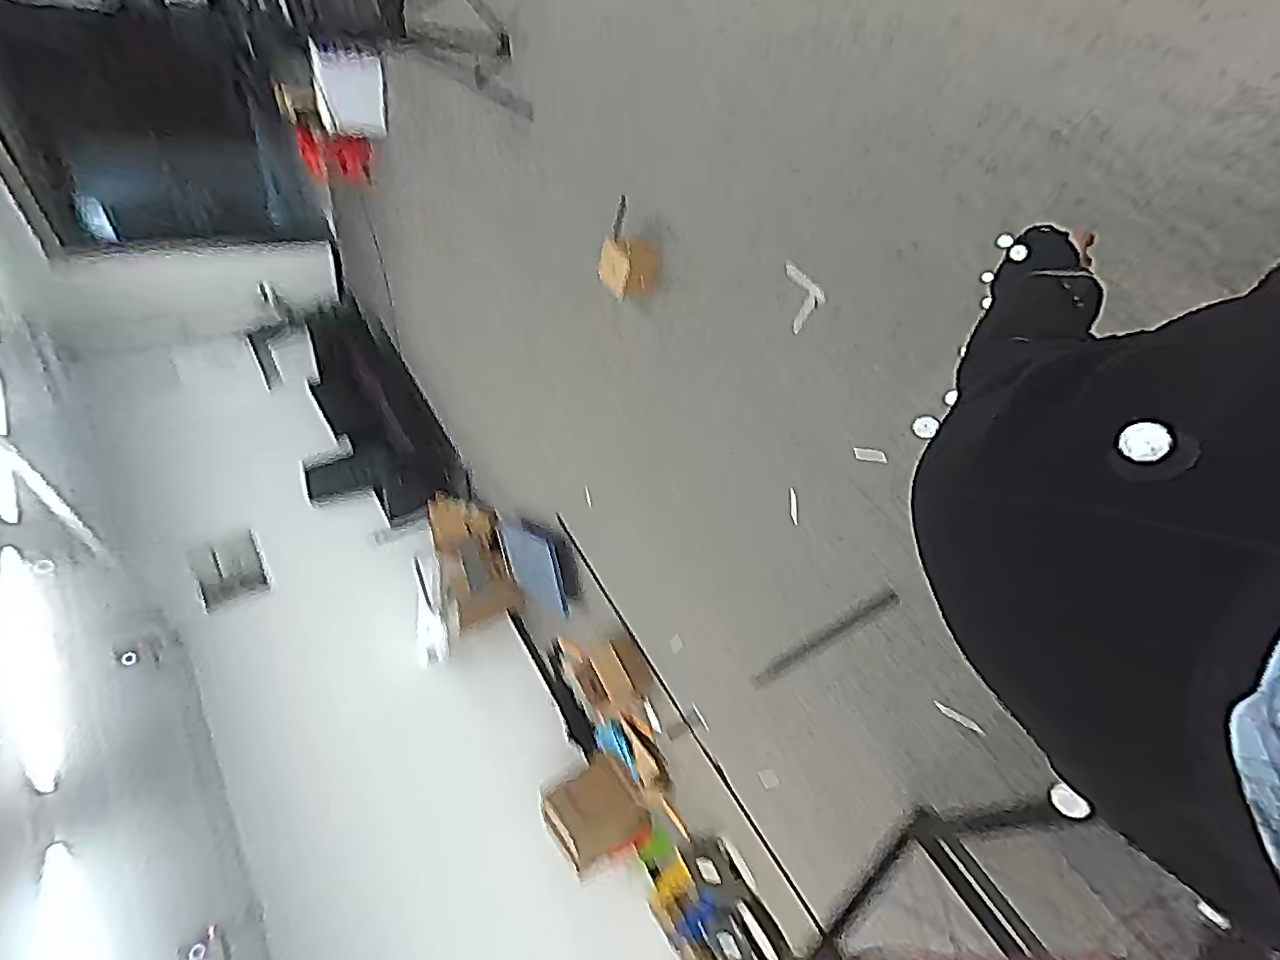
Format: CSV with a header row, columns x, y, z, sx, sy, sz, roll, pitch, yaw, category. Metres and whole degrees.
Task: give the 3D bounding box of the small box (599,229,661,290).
x,y,z,sx,sy,sz,roll,pitch,yaw,category
-0.040,-0.912,2.217,0.179,0.176,0.168,54,144,23,small box
